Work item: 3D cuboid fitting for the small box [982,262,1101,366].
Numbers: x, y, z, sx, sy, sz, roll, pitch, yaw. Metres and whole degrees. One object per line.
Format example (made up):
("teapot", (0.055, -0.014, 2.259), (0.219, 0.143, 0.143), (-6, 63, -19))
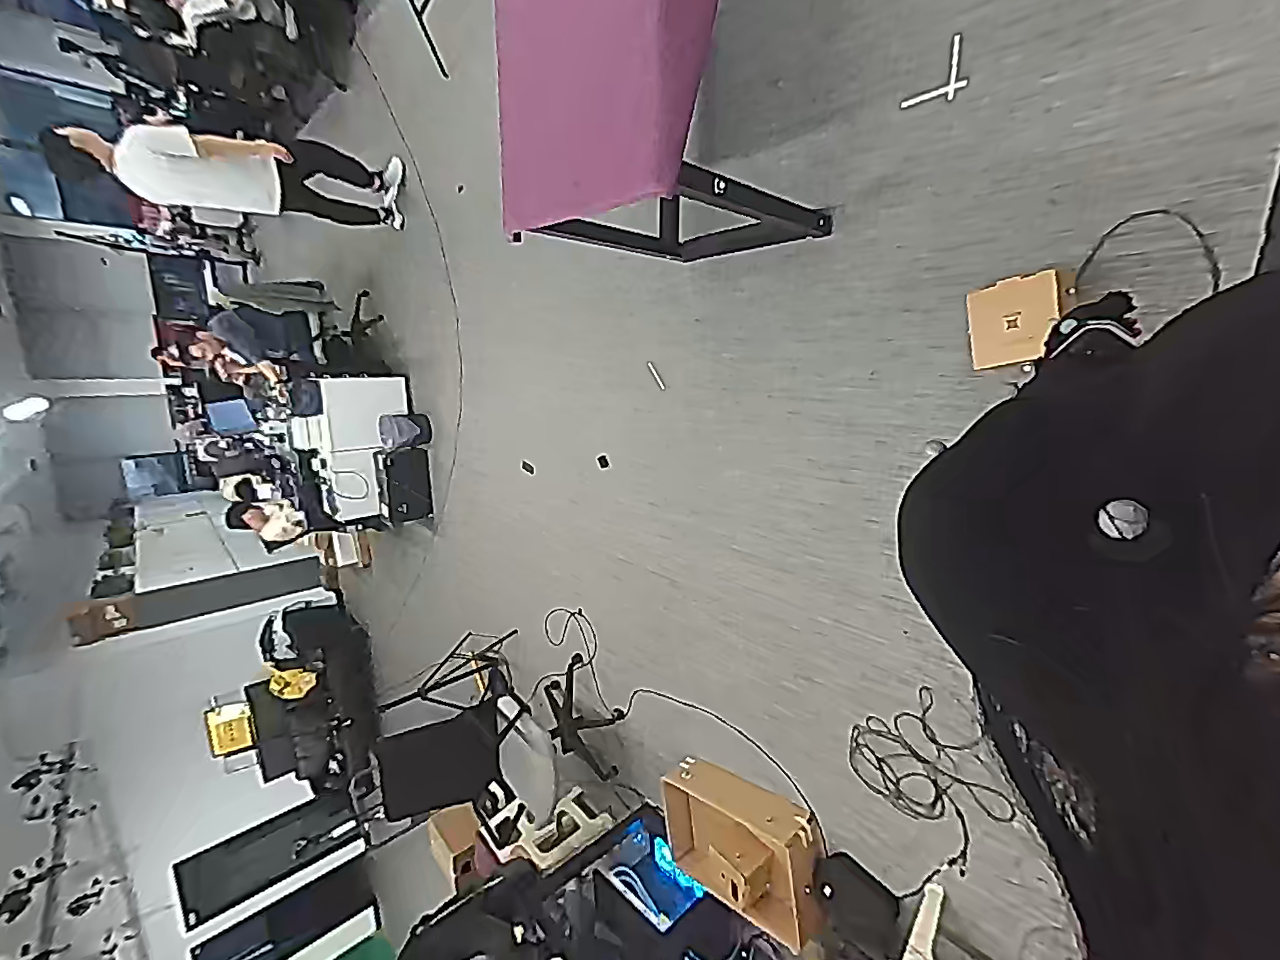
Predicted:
("small box", (0.876, -0.352, 1.179), (0.168, 0.176, 0.179), (-5, 95, 53))
